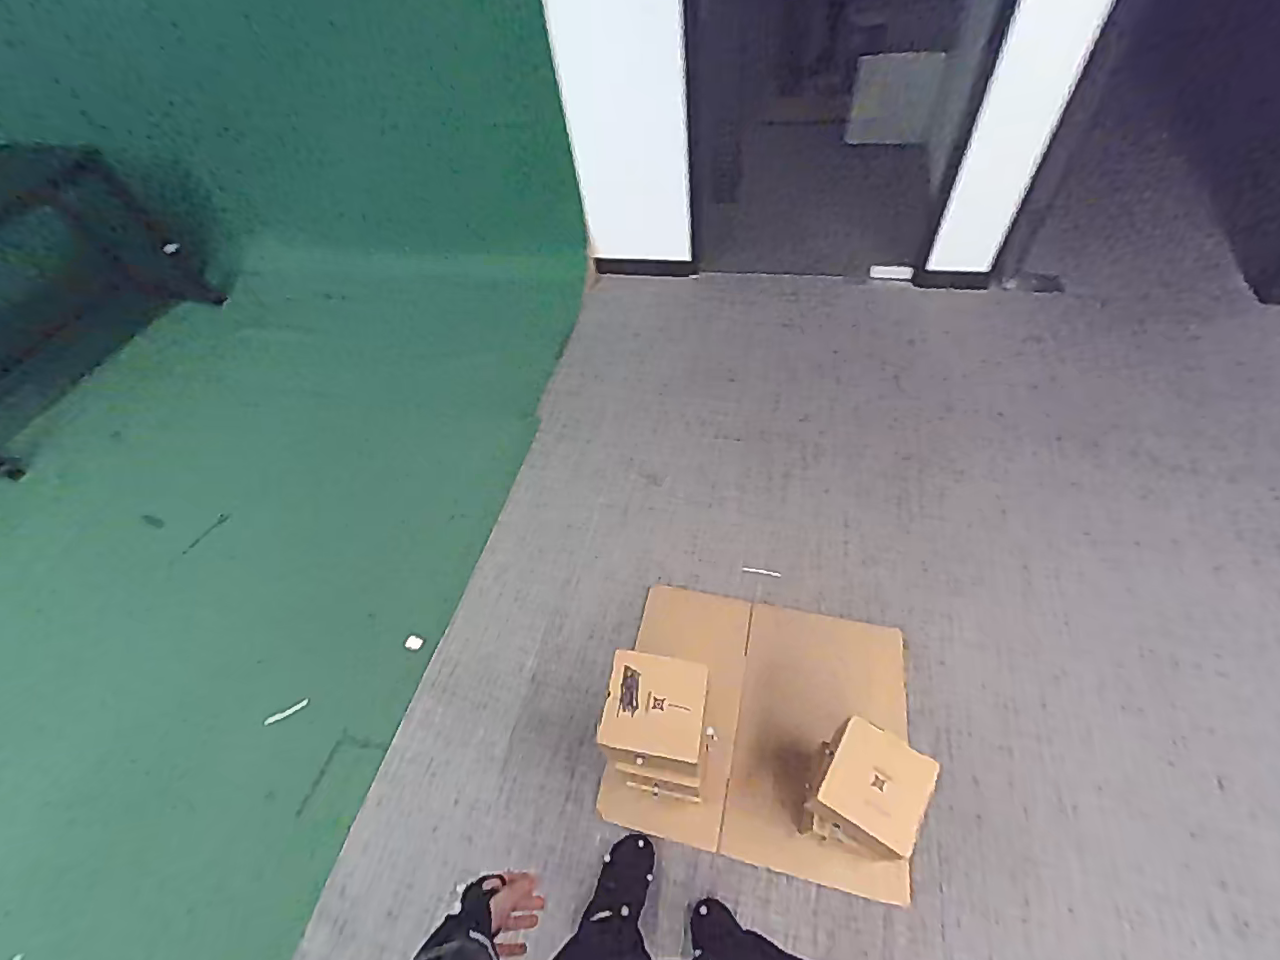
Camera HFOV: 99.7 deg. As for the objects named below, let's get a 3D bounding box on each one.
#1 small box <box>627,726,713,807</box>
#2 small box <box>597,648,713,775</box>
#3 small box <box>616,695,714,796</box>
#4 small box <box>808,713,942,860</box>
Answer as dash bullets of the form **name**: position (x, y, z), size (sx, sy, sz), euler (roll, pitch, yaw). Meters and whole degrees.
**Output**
- **small box**: position (0.078, 0.637, 1.249), size (0.168, 0.176, 0.179), euler (7, 55, 12)
- **small box**: position (0.036, 0.429, 0.996), size (0.179, 0.176, 0.168), euler (6, 55, 11)
- **small box**: position (0.060, 0.535, 1.120), size (0.168, 0.176, 0.179), euler (8, 55, 12)
- **small box**: position (0.438, 0.585, 1.032), size (0.168, 0.176, 0.179), euler (27, 62, 23)
